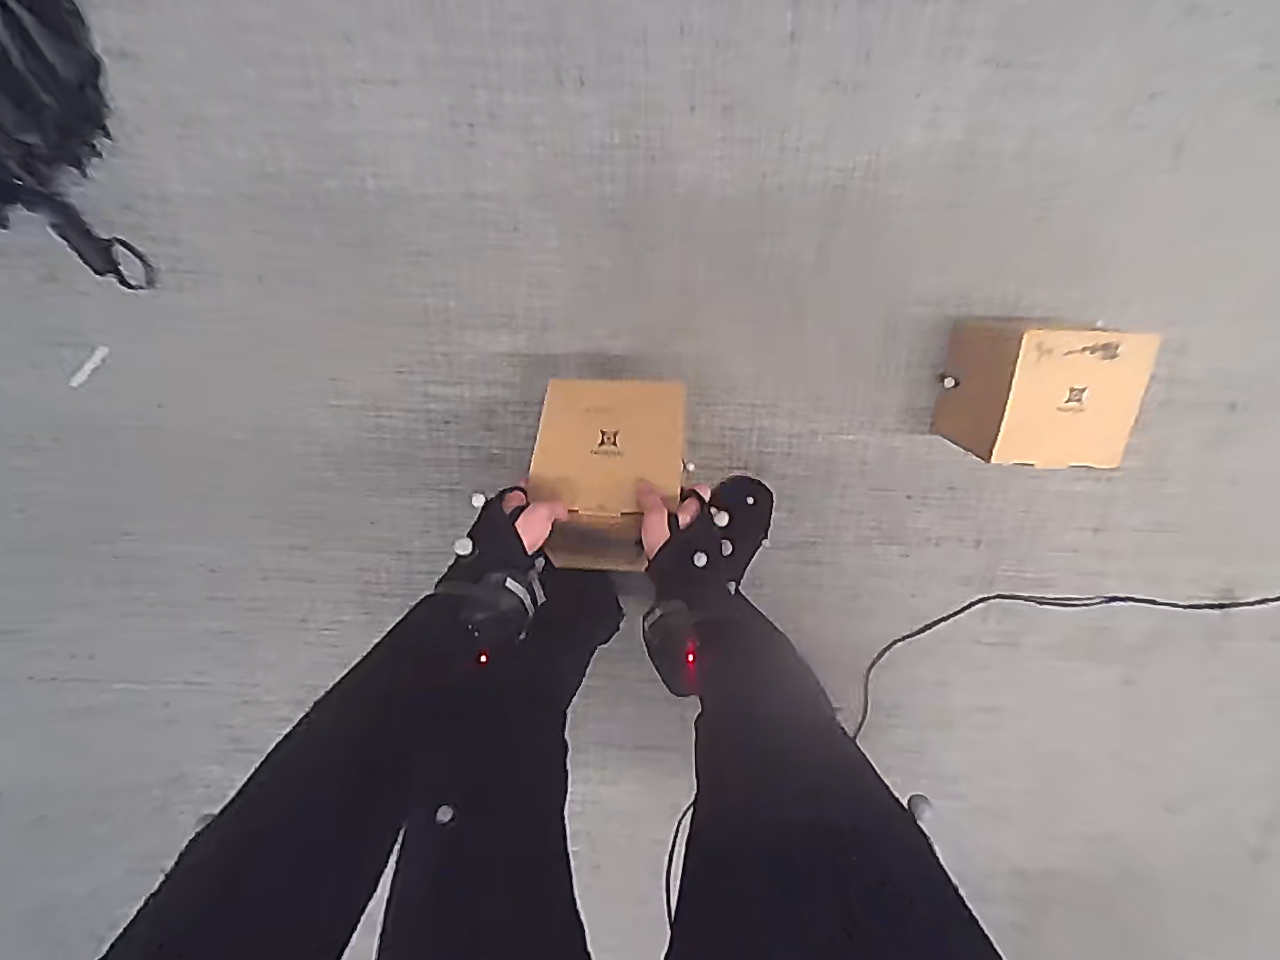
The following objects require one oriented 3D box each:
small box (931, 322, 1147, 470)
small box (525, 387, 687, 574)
[{"bbox_3d":[0.546,-0.126,0.774,0.168,0.176,0.179,2,110,1],"label":"small box"},{"bbox_3d":[-0.028,0.006,0.668,0.168,0.179,0.176,2,149,6],"label":"small box"}]
